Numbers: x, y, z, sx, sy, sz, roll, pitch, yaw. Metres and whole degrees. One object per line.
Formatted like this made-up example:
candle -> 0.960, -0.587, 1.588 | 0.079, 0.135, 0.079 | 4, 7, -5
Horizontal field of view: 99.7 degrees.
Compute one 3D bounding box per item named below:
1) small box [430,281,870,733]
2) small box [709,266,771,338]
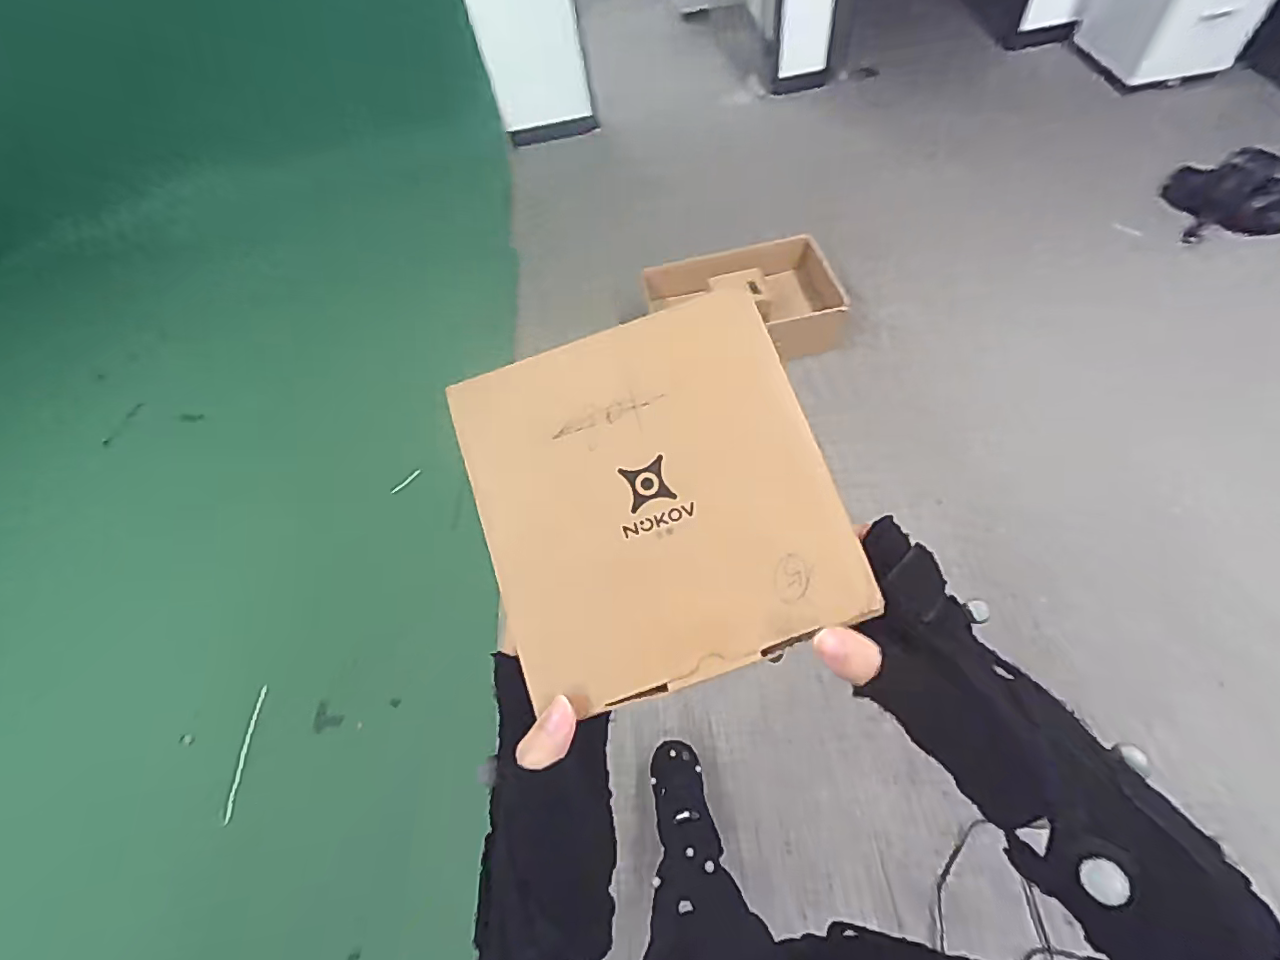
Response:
small box -> 0.007, 0.020, 0.337 | 0.168, 0.176, 0.179 | -24, 78, 1
small box -> 0.336, -0.589, 1.830 | 0.179, 0.176, 0.168 | -12, 56, 4
